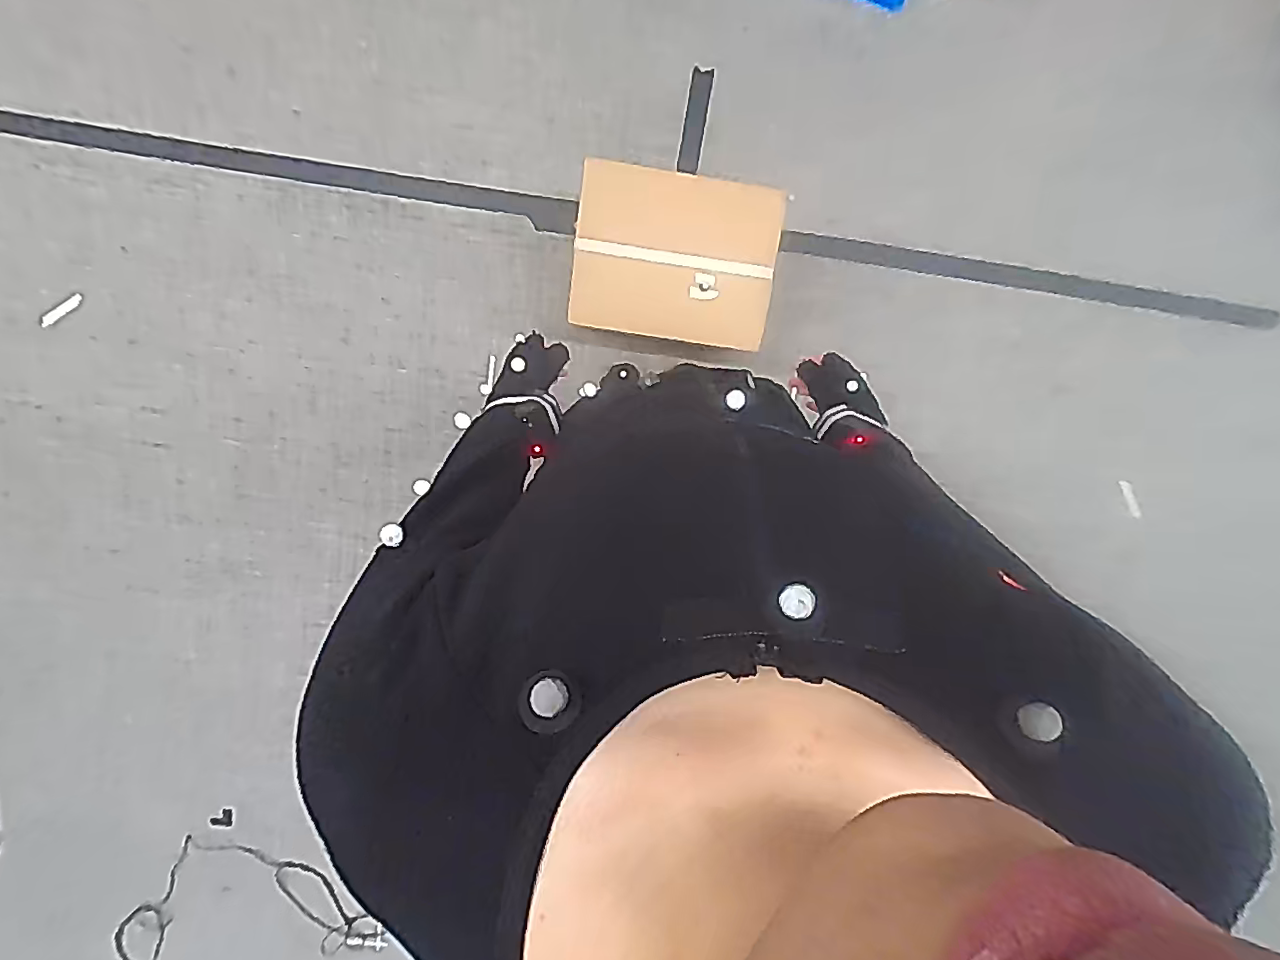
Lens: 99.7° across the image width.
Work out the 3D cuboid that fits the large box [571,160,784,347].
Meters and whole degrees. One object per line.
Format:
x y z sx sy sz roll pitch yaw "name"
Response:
0.064 -0.485 1.232 0.408 0.320 0.320 7 104 -4 "large box"
